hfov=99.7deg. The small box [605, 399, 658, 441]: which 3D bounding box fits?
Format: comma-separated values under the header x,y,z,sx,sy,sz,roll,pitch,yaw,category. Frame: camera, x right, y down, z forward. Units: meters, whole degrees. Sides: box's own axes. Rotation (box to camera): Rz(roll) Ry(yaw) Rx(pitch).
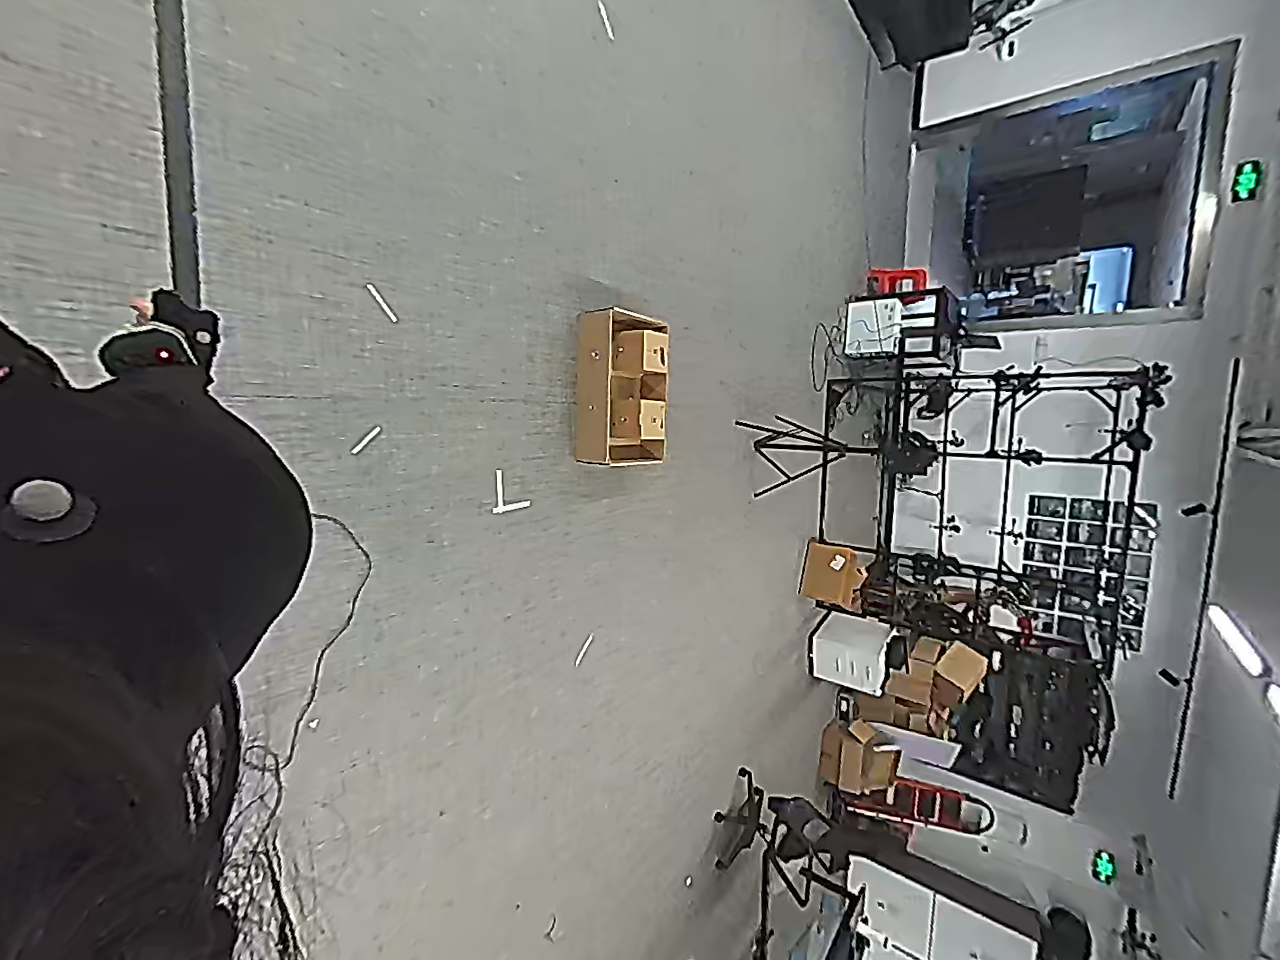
x,y,z,sx,sy,sz,roll,pitch,yaw,category
-0.038,-0.254,2.338,0.179,0.176,0.168,-3,94,-52,small box
